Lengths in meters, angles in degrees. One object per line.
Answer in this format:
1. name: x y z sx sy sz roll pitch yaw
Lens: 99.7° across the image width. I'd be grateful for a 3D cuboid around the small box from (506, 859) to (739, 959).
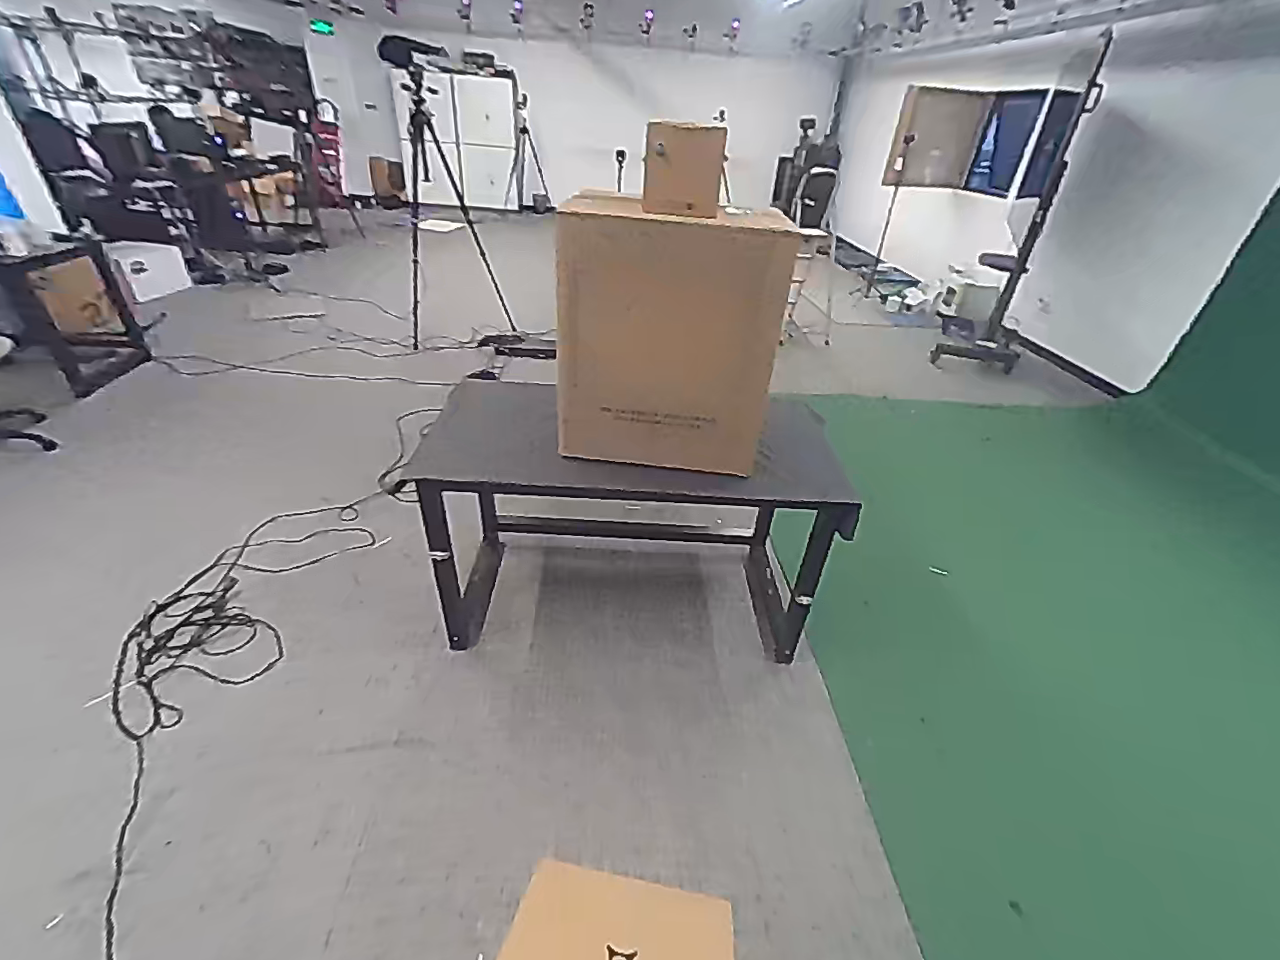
1. small box: -0.025 0.425 0.378 0.168 0.176 0.179 9 4 8
